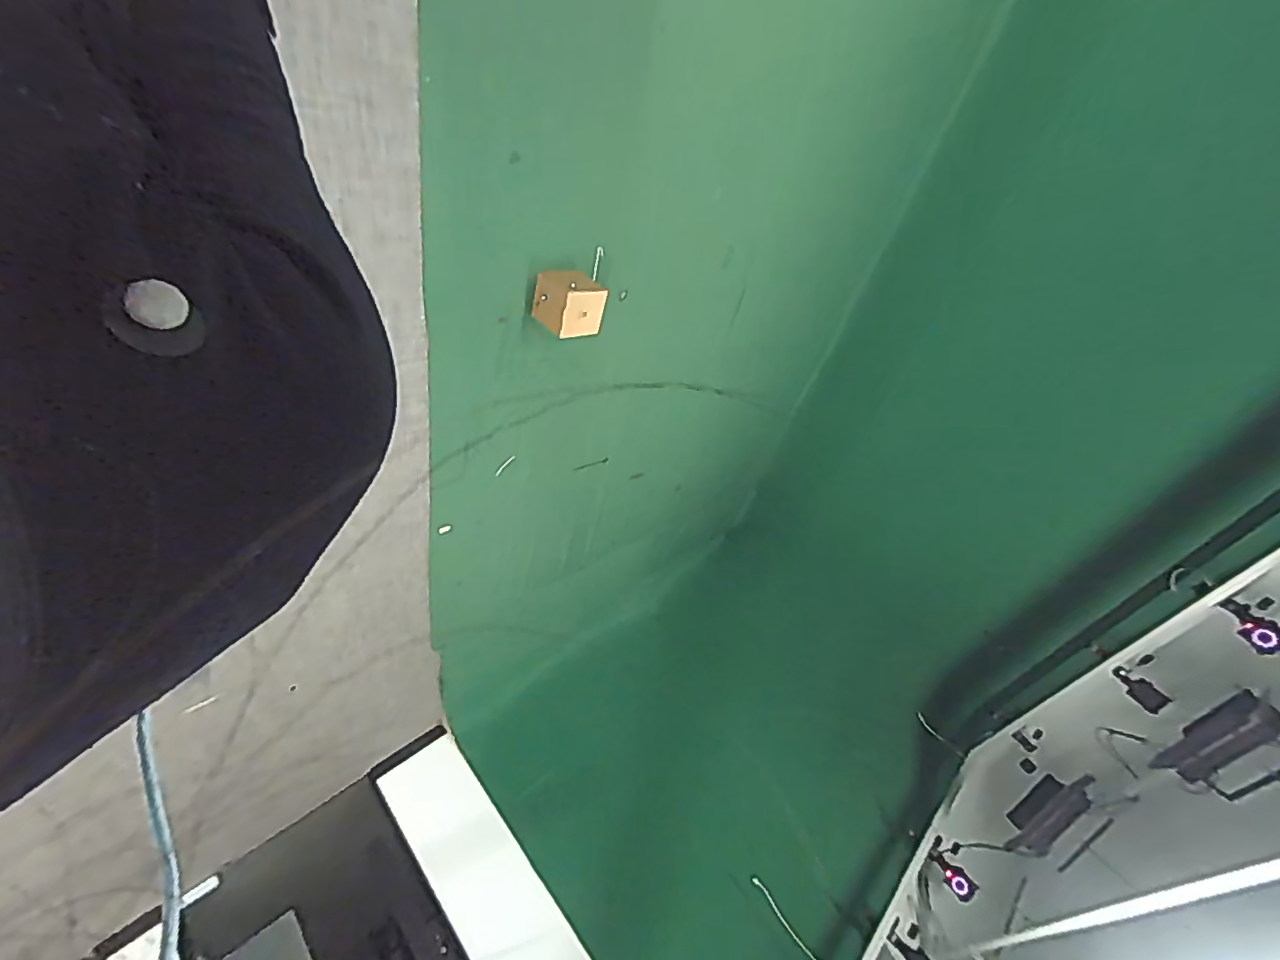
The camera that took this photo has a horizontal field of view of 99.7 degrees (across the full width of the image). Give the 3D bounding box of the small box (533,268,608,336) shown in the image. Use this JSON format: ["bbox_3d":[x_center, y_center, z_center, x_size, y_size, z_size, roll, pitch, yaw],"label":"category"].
[{"bbox_3d":[-0.246,-0.624,1.881,0.179,0.176,0.168,-21,143,-41],"label":"small box"}]
